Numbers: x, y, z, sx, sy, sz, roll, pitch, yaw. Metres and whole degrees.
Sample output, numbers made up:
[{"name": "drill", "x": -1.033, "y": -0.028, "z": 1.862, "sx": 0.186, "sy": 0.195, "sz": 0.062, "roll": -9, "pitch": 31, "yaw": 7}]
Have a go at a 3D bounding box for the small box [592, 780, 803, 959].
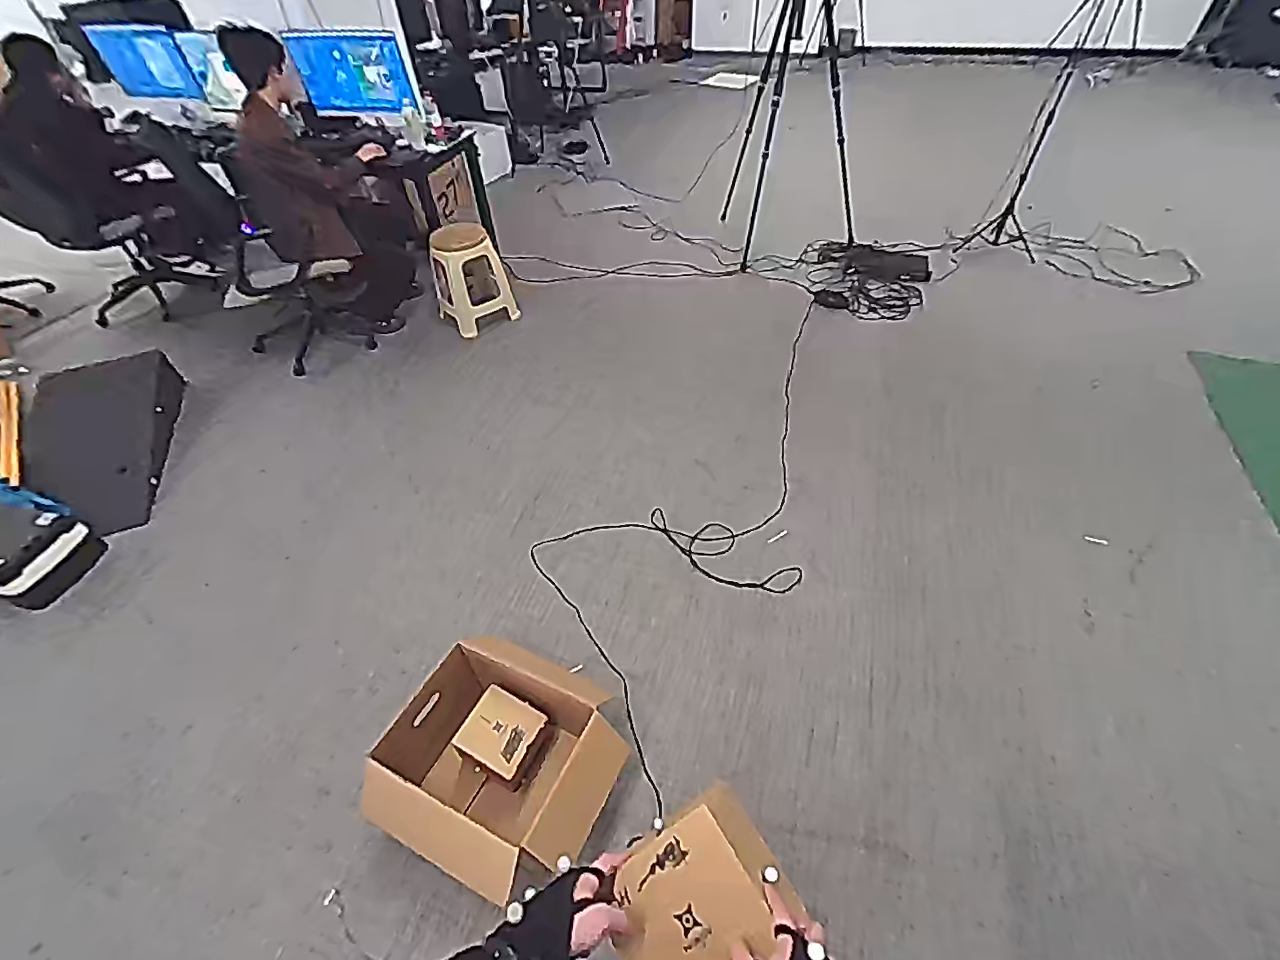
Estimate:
[{"name": "small box", "x": 0.077, "y": 0.488, "z": 0.633, "sx": 0.168, "sy": 0.176, "sz": 0.179, "roll": -36, "pitch": 64, "yaw": 1}]
